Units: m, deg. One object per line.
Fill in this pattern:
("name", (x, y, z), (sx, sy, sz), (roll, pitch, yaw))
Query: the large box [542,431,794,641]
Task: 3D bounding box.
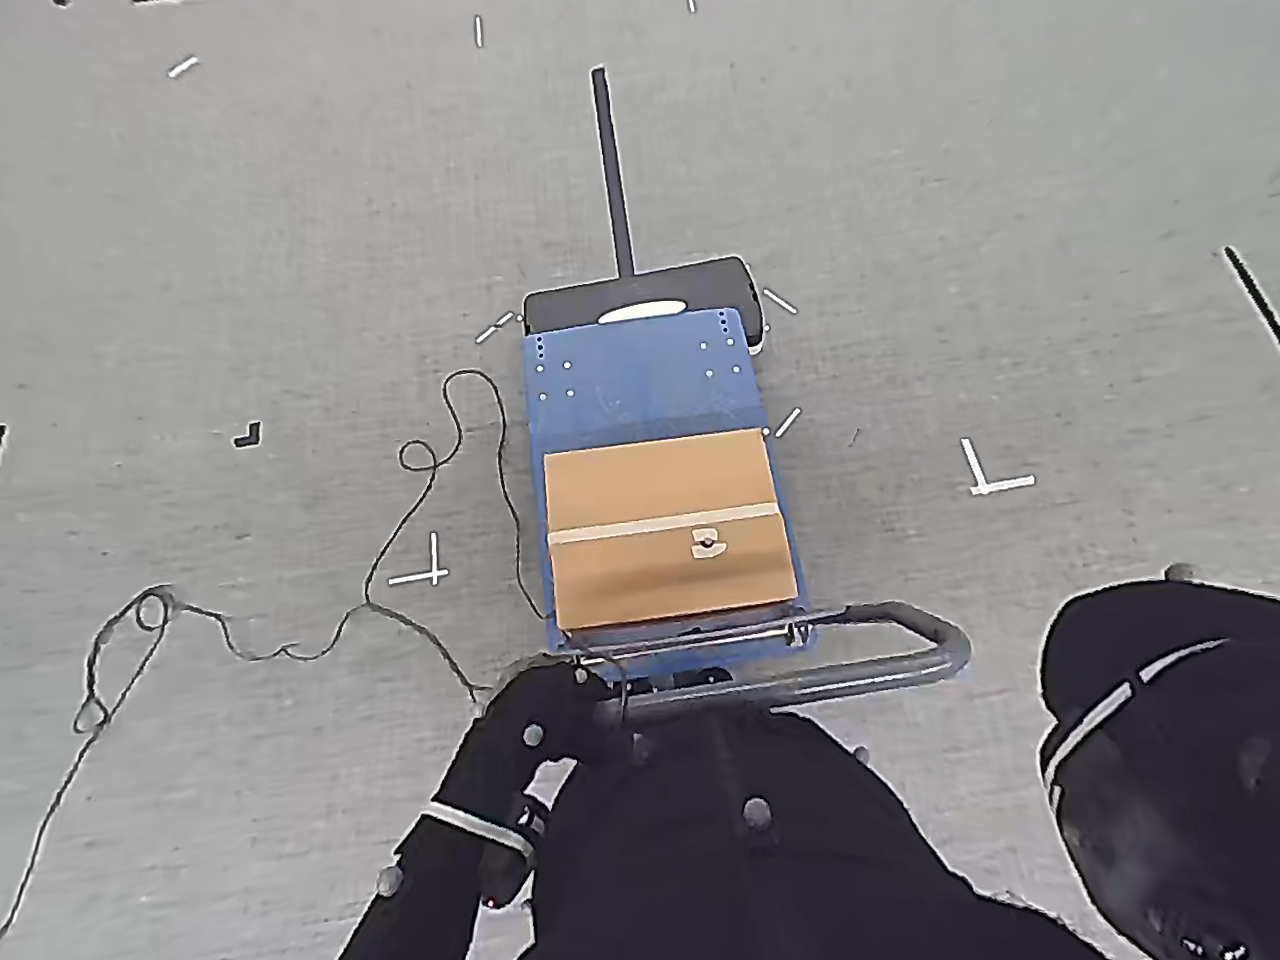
("large box", (0.039, 0.129, 1.075), (0.408, 0.320, 0.320), (-7, 73, -2))
